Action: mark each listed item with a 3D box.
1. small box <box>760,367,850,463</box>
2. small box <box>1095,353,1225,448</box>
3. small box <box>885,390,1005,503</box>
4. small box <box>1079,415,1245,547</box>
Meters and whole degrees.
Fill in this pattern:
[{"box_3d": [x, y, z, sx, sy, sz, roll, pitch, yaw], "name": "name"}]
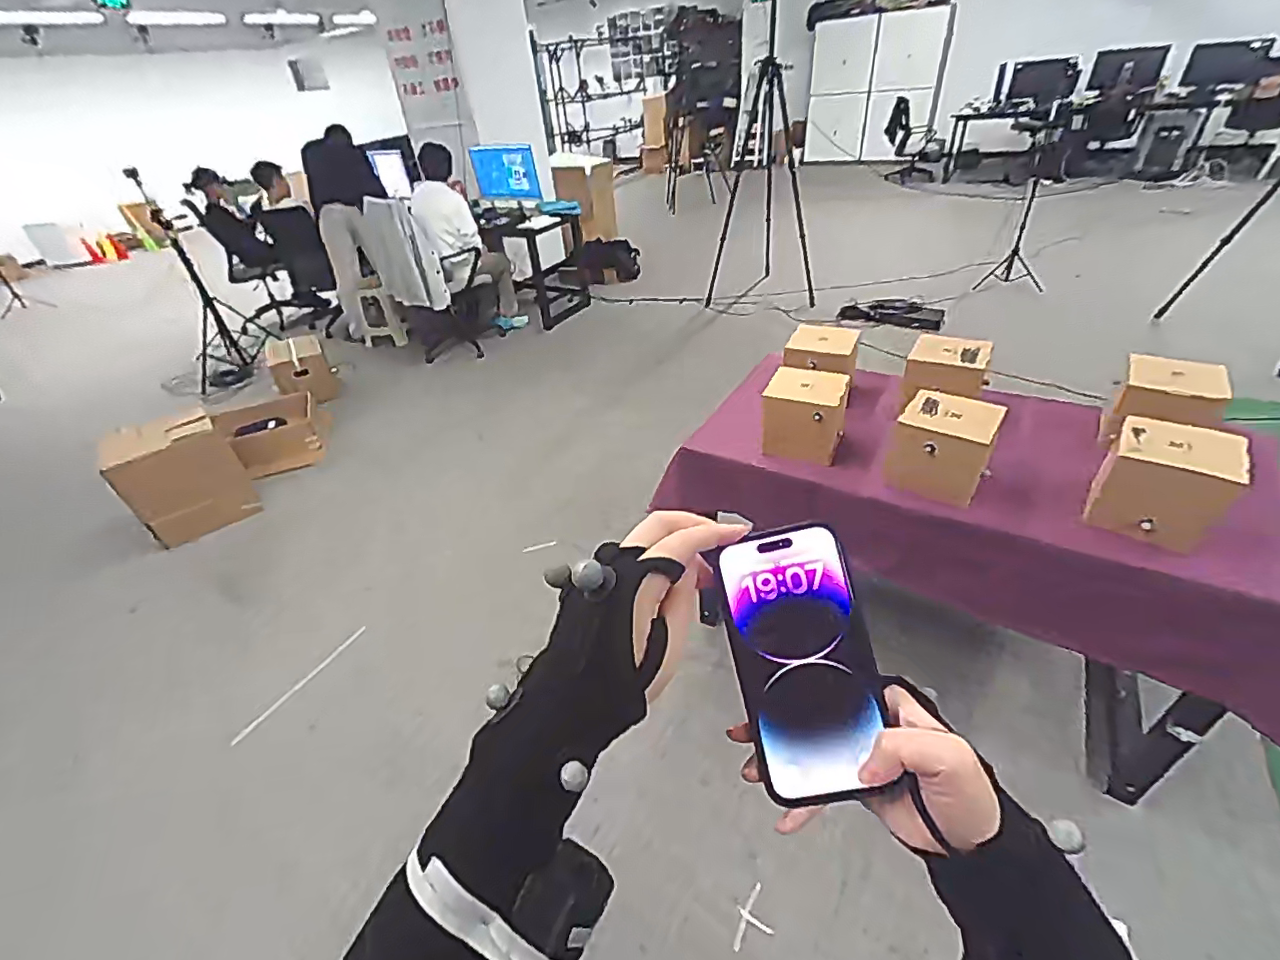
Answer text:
[{"box_3d": [0.408, -0.162, 1.348, 0.179, 0.176, 0.168, 14, 41, 23], "name": "small box"}, {"box_3d": [1.173, -0.166, 1.231, 0.168, 0.176, 0.179, 19, 45, 31], "name": "small box"}, {"box_3d": [0.664, -0.074, 1.190, 0.179, 0.176, 0.168, 23, 46, 32], "name": "small box"}, {"box_3d": [0.993, 0.003, 1.037, 0.179, 0.176, 0.168, 23, 46, 33], "name": "small box"}]
